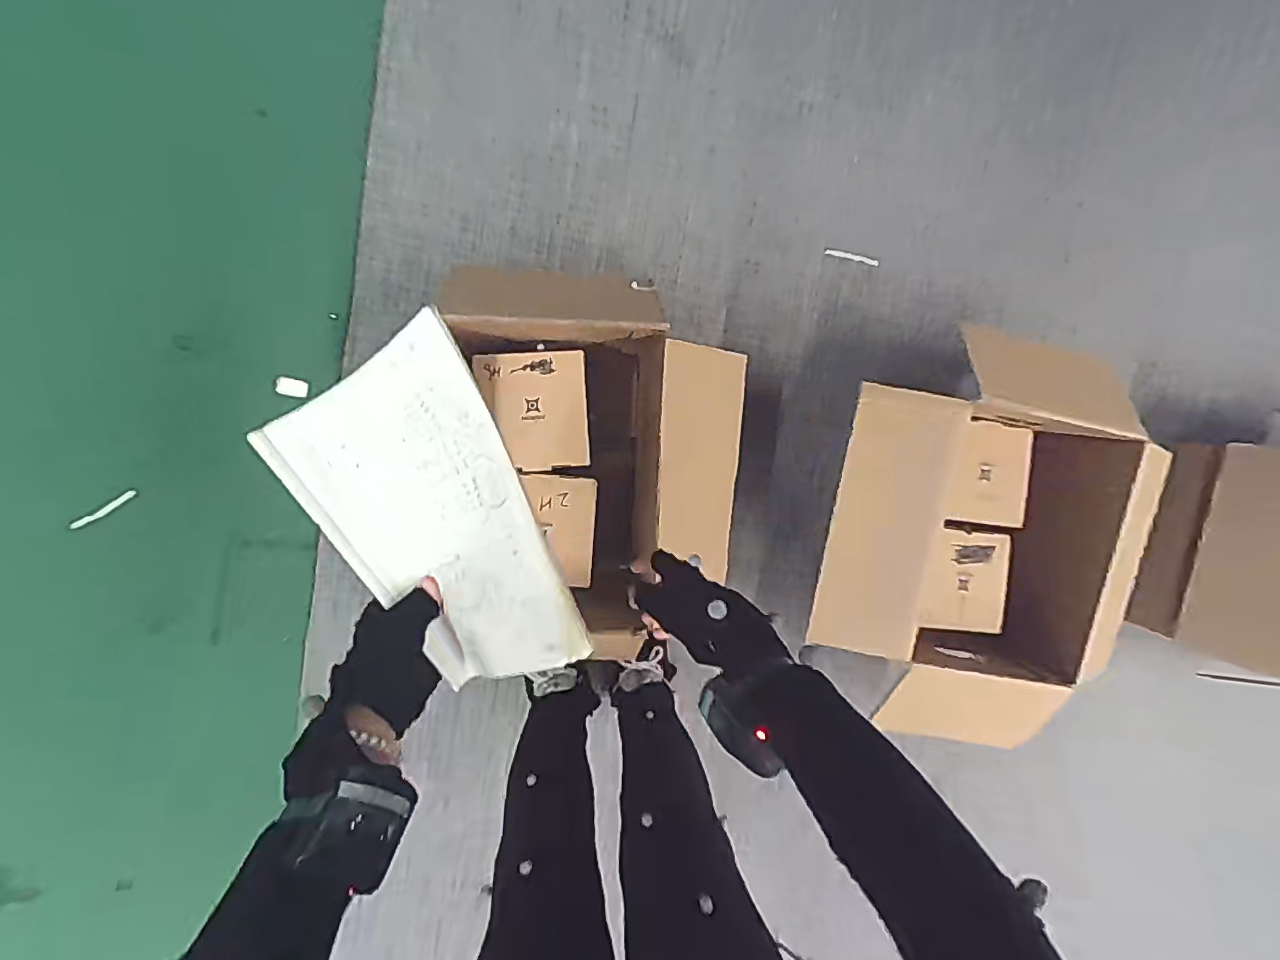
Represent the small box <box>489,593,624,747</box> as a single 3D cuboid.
[{"bbox_3d":[-0.152,0.339,0.985,0.179,0.176,0.168,27,103,7],"label":"small box"}]
